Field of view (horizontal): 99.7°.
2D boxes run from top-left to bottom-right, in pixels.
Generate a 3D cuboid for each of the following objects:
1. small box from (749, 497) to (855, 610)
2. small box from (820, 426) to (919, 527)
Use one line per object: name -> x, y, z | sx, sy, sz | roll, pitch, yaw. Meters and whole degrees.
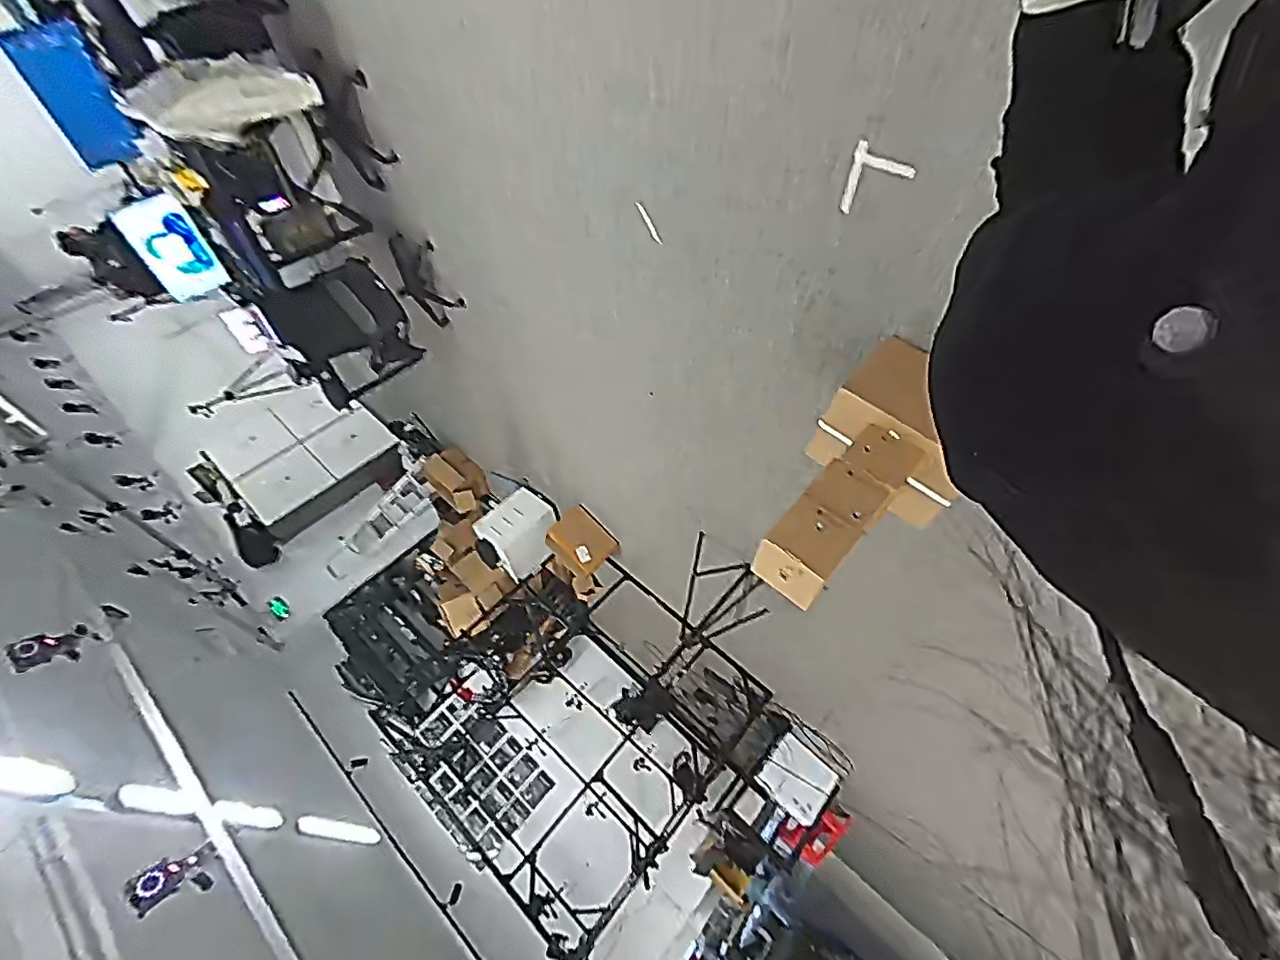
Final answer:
small box -> 0.393, 0.177, 1.318 | 0.168, 0.176, 0.179 | 36, 151, 22
small box -> 0.621, -0.015, 1.460 | 0.168, 0.176, 0.179 | 36, 152, 25
